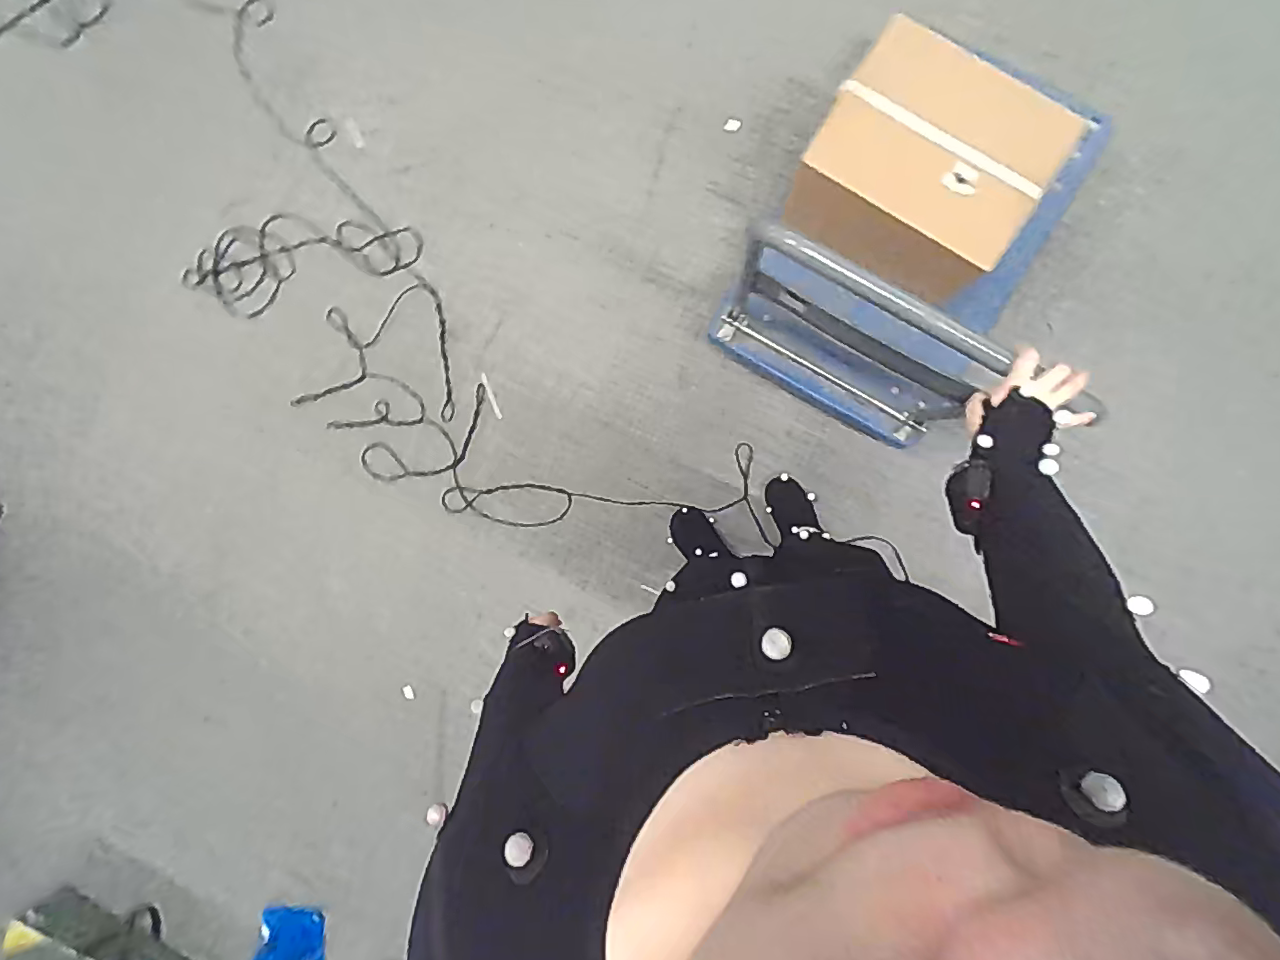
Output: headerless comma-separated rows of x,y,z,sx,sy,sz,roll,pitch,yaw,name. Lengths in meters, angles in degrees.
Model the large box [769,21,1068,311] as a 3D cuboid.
0.546,-0.631,1.152,0.408,0.320,0.320,33,94,3,large box
